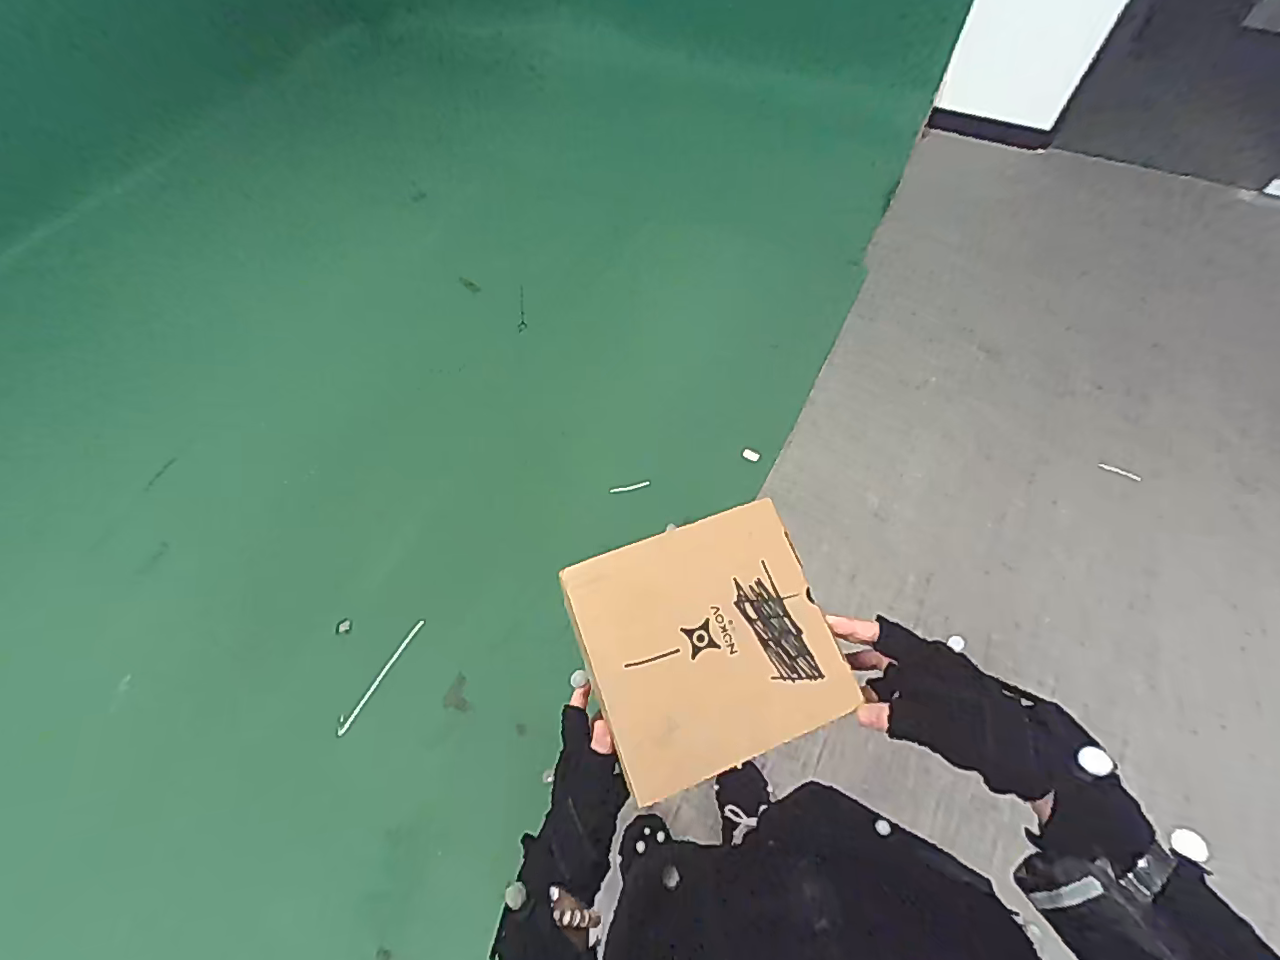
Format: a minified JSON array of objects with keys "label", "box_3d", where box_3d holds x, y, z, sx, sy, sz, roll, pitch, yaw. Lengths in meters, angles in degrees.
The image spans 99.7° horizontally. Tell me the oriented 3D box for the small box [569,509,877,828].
[{"label":"small box","box_3d":[0.047,0.145,0.448,0.179,0.176,0.168,-18,72,-12]}]
